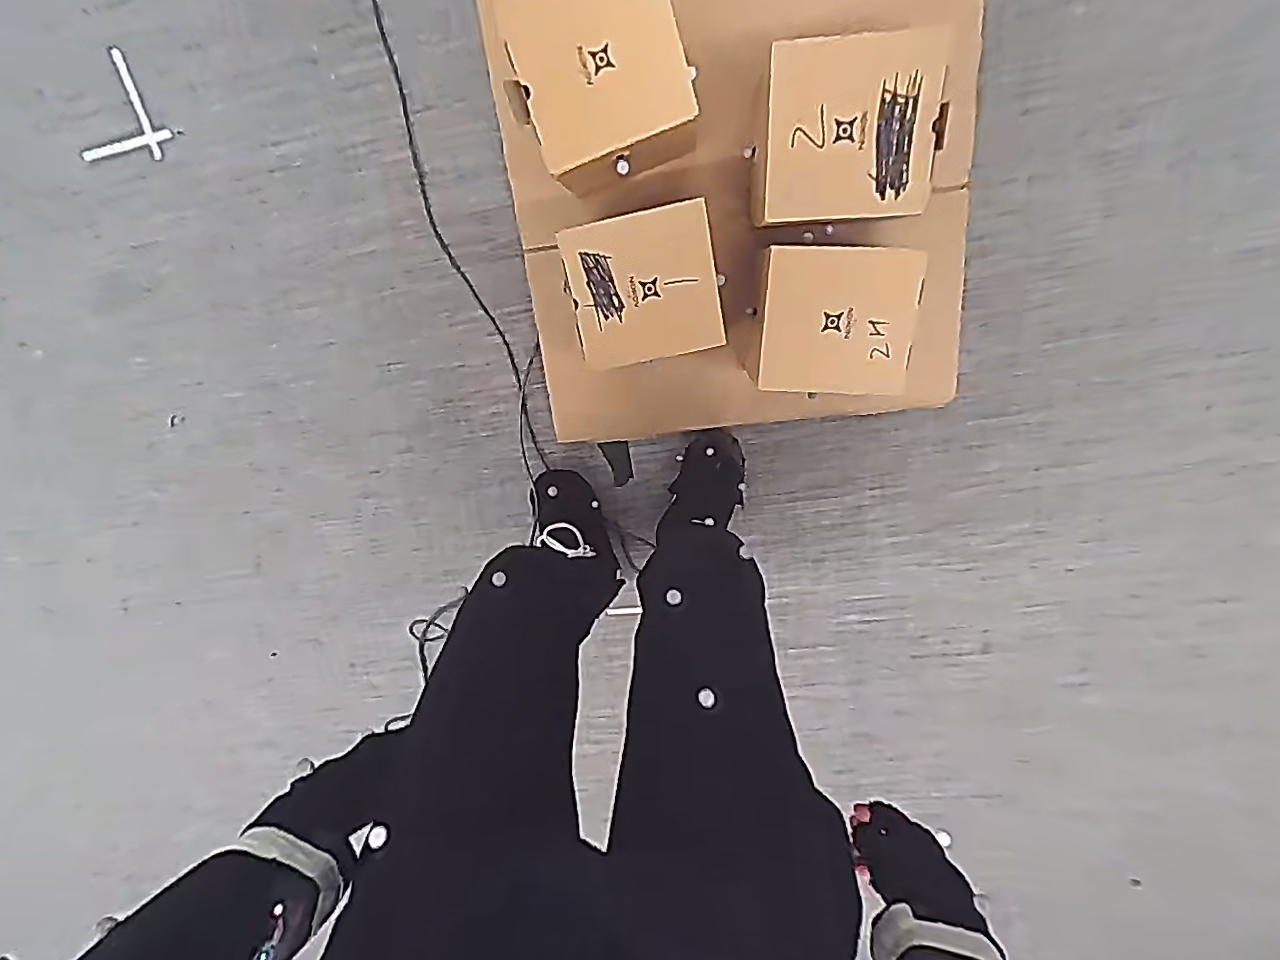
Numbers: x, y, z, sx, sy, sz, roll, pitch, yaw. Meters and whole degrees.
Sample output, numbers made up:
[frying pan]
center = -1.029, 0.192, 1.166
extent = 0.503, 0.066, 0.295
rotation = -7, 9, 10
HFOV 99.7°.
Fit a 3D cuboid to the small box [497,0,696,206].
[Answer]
[small box]
center = -0.039, -0.451, 0.650
extent = 0.179, 0.176, 0.168
rotation = -16, 107, 11
